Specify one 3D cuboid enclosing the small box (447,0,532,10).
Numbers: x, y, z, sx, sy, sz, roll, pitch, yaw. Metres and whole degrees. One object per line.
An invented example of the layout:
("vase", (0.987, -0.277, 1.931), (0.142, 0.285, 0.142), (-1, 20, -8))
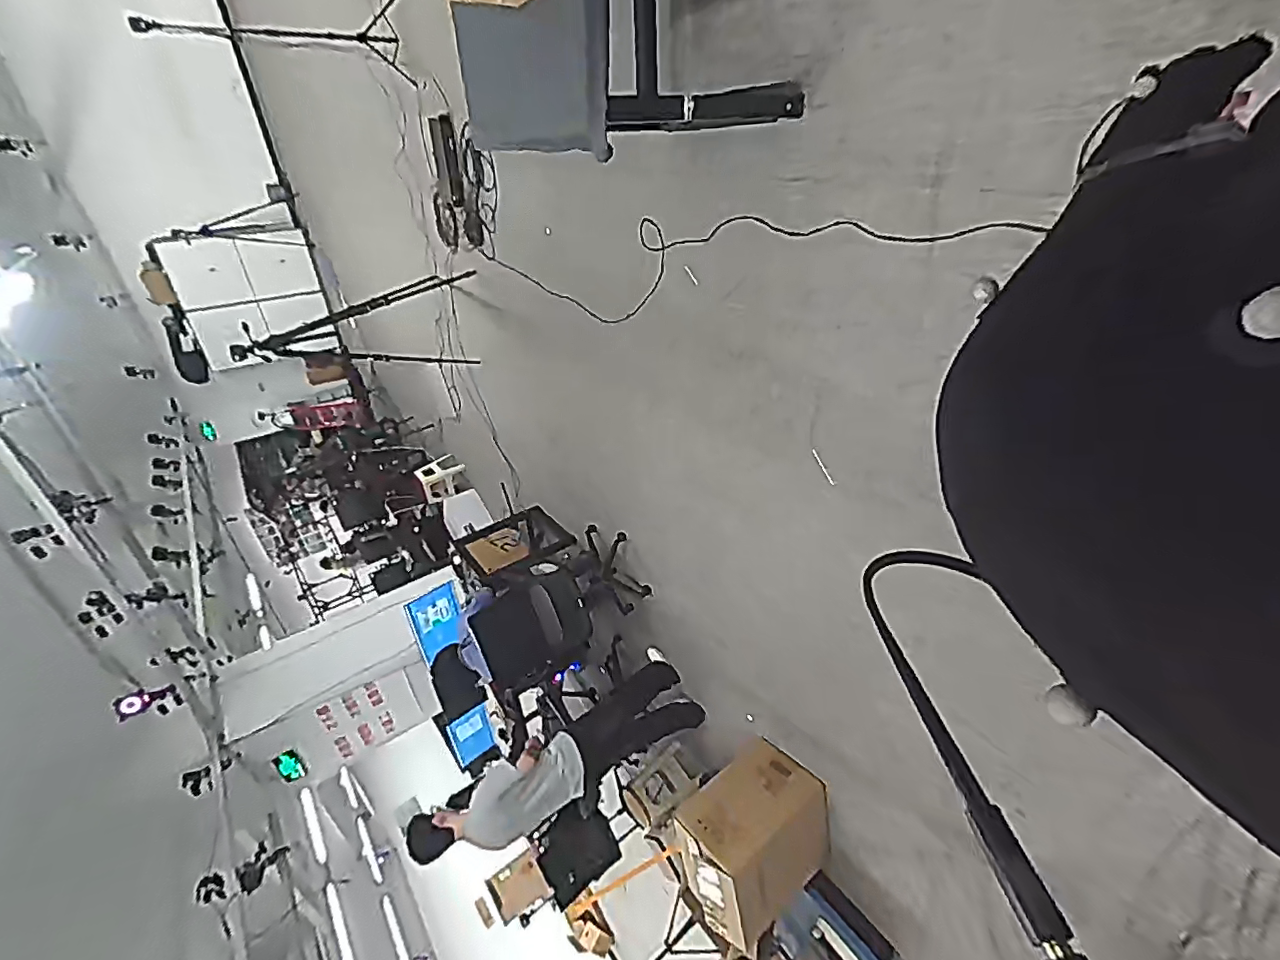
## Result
("small box", (-0.290, -1.048, 1.054), (0.168, 0.176, 0.179), (32, 136, 46))
